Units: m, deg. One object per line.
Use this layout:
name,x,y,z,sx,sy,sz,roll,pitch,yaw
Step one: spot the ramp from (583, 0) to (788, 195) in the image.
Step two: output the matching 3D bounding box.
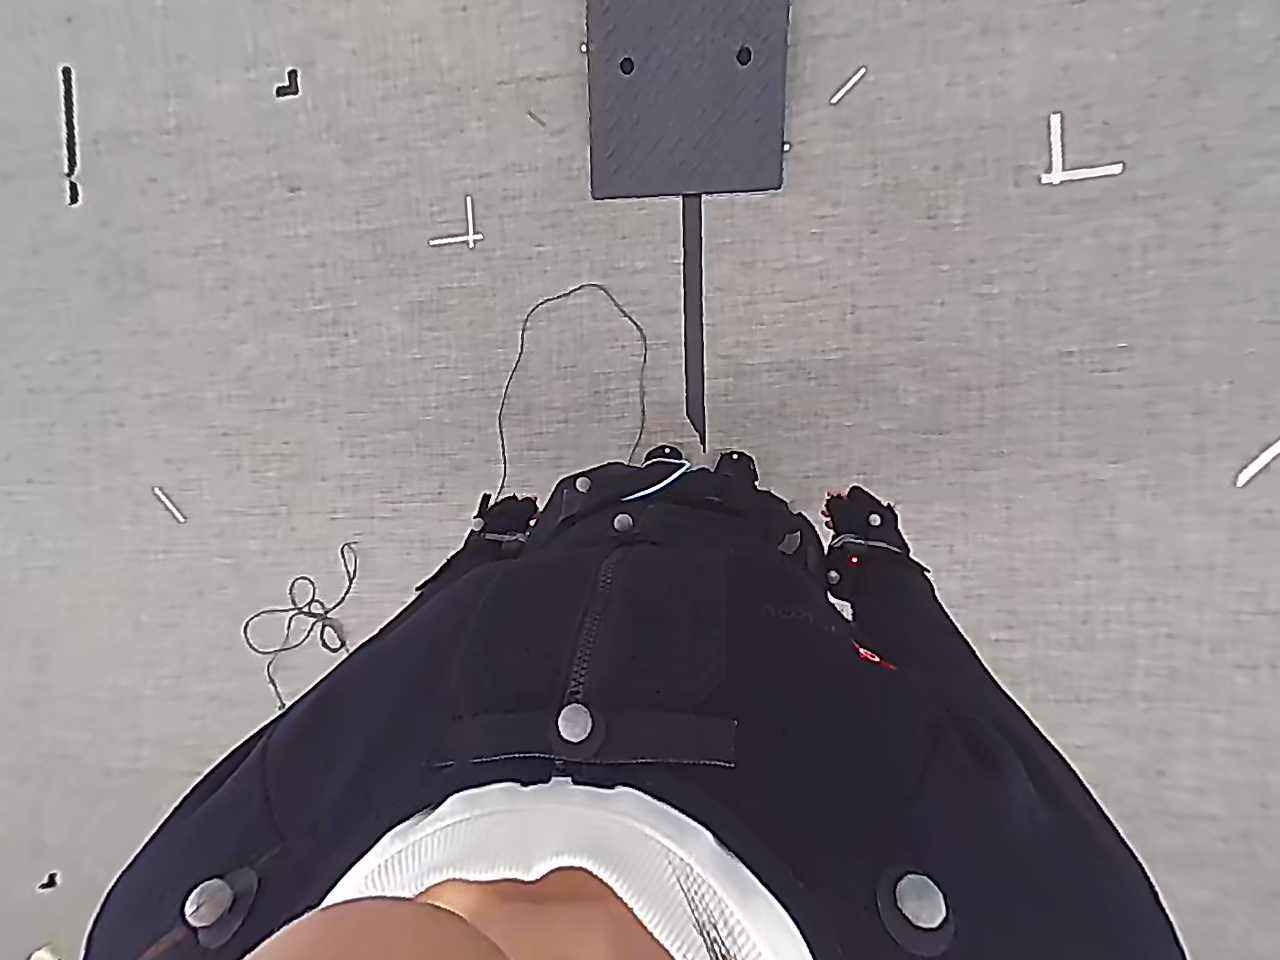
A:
ramp,0.104,-1.231,1.272,0.509,0.206,0.991,-1,94,7
